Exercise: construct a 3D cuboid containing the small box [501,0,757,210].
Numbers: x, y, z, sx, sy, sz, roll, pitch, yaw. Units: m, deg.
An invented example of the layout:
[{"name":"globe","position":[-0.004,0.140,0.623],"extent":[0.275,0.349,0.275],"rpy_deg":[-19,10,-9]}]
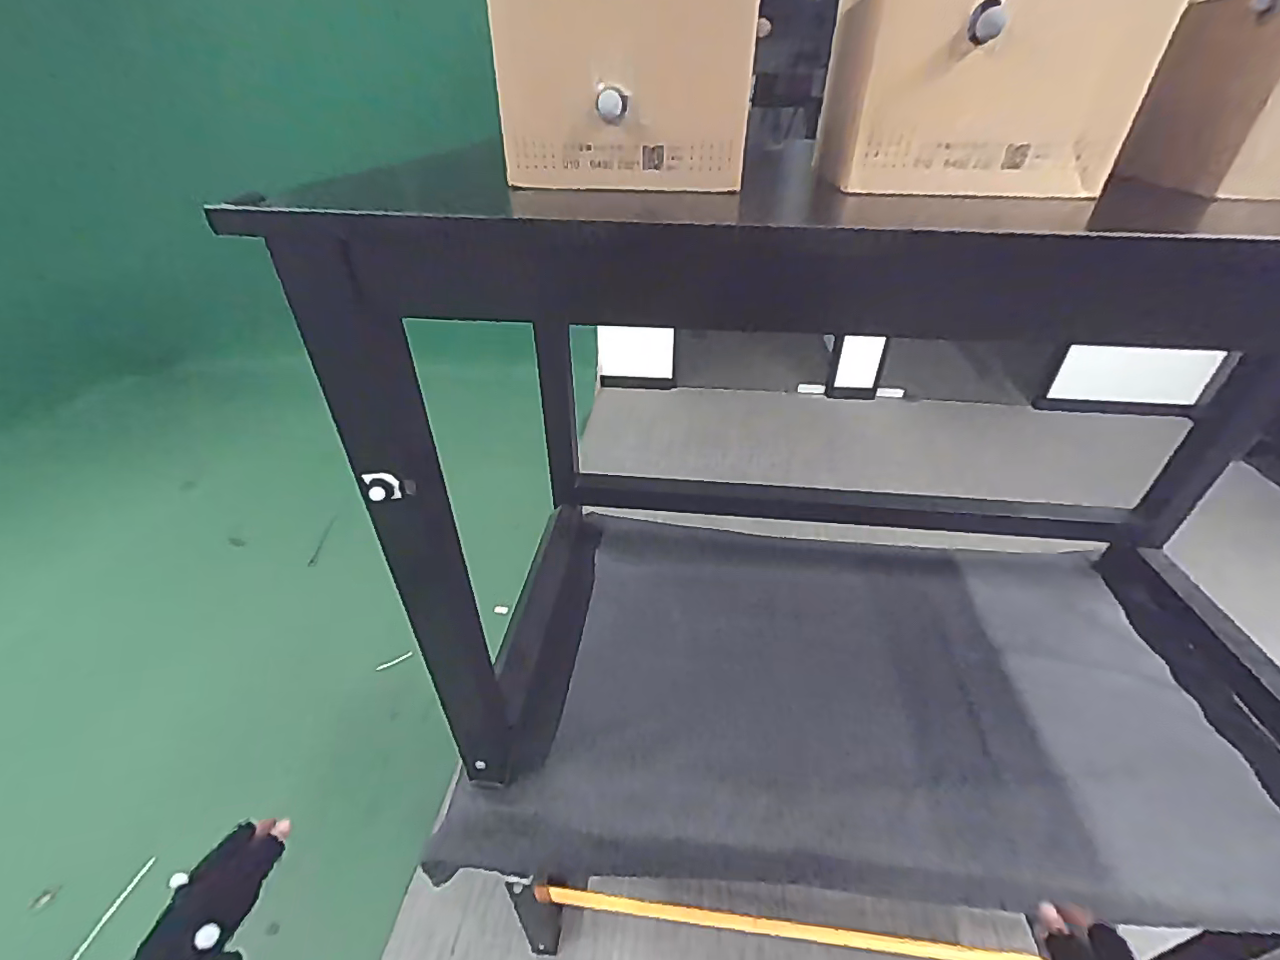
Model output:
[{"name":"small box","position":[-0.003,-0.317,0.416],"extent":[0.168,0.176,0.179],"rpy_deg":[3,36,4]}]
